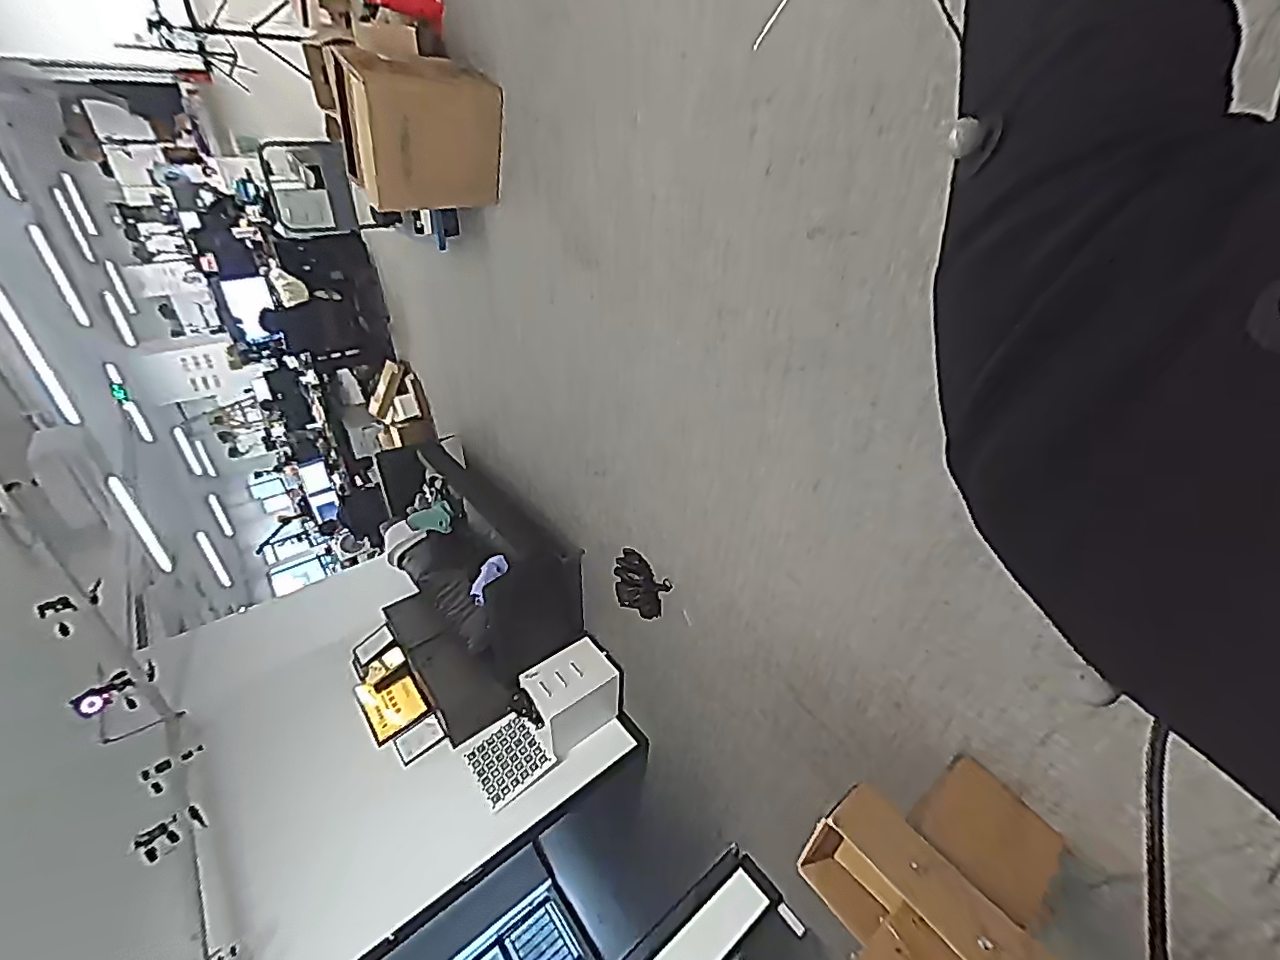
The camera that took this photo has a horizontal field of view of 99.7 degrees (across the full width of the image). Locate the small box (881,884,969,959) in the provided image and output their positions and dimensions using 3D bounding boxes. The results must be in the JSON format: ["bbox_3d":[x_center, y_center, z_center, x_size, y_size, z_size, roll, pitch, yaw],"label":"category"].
[{"bbox_3d":[0.792,1.296,1.529,0.168,0.176,0.179,39,141,40],"label":"small box"}]

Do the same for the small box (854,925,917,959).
[{"bbox_3d":[0.660,1.355,1.452,0.168,0.176,0.179,37,137,42],"label":"small box"}]
